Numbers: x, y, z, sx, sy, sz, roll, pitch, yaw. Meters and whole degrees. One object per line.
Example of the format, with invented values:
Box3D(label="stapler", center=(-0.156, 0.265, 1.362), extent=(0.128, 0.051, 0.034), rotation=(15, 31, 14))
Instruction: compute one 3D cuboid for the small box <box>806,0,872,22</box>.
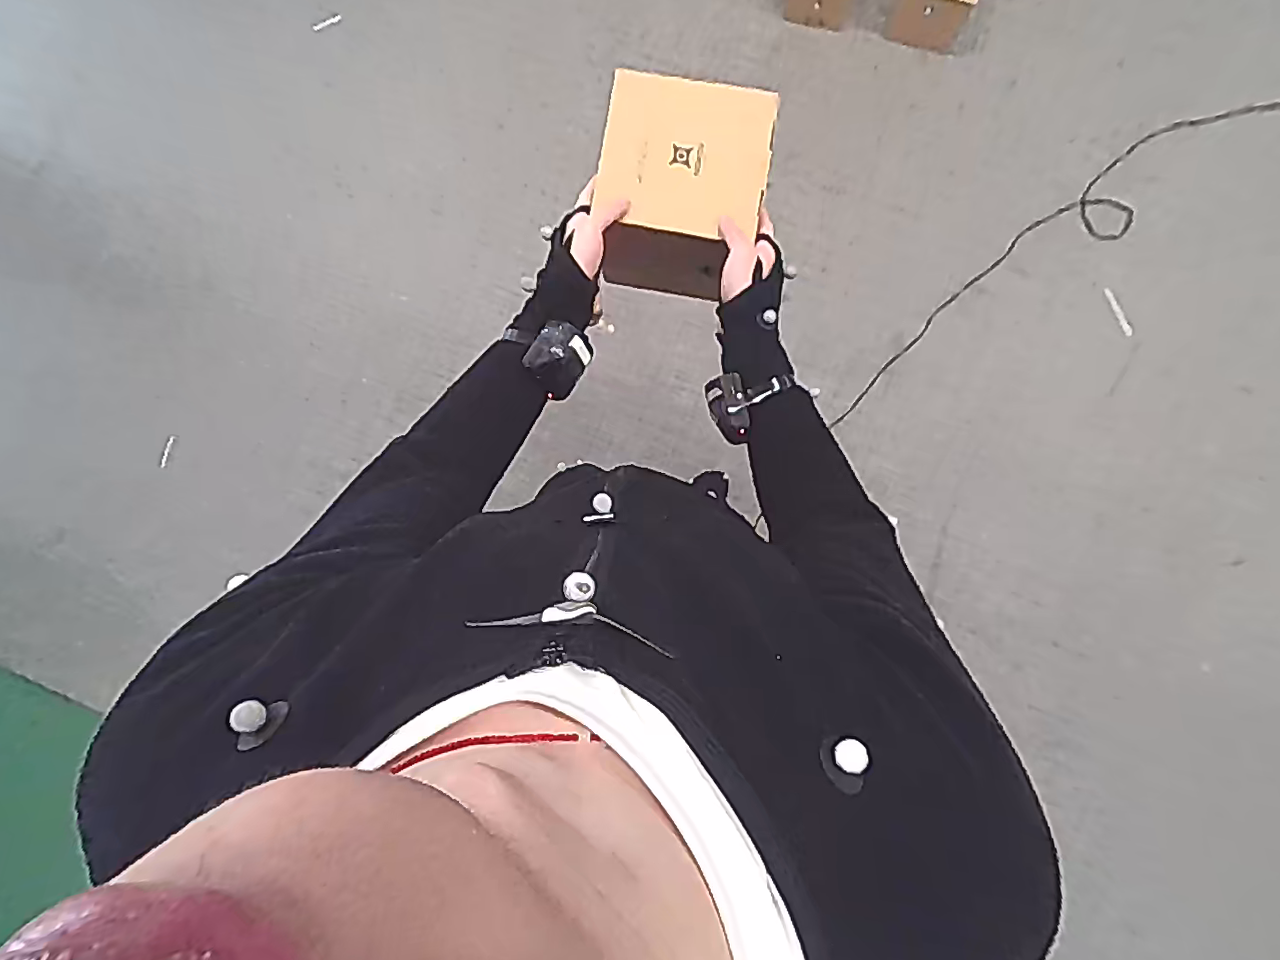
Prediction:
Box3D(label="small box", center=(0.521, -1.348, 1.400), extent=(0.179, 0.176, 0.168), rotation=(-13, 87, 8))

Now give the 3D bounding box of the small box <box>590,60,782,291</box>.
Box3D(label="small box", center=(0.051, -0.342, 0.640), extent=(0.179, 0.176, 0.168), rotation=(11, 87, 4))

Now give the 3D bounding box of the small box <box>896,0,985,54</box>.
Box3D(label="small box", center=(0.786, -1.240, 1.373), extent=(0.179, 0.176, 0.168), rotation=(25, 96, 6))
